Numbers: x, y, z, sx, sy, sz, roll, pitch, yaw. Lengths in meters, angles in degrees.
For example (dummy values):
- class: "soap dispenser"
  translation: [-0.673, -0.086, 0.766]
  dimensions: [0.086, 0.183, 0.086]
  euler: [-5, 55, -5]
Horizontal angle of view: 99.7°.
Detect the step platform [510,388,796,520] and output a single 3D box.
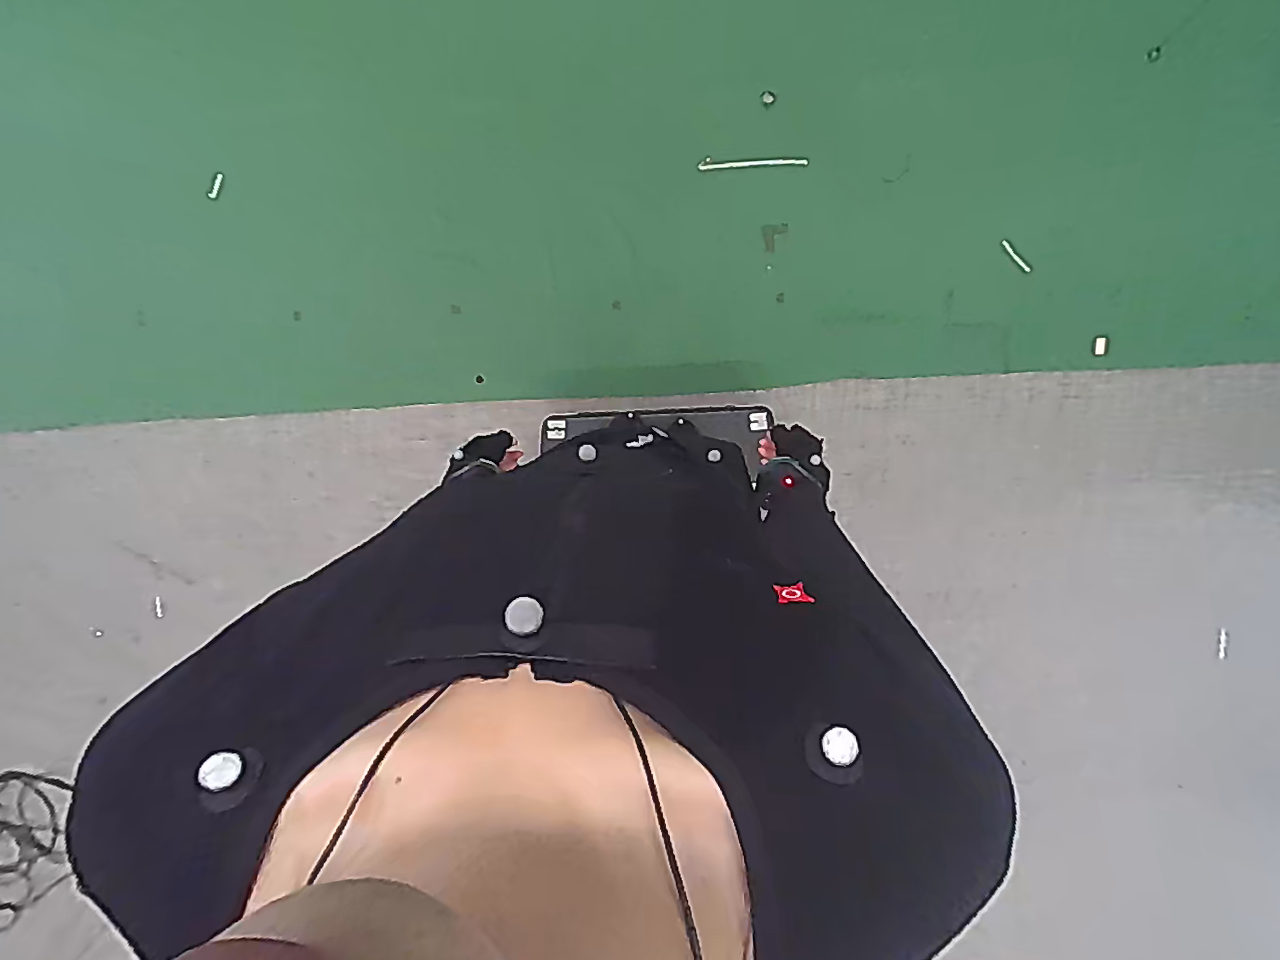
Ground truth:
- class: "step platform"
  translation: [0.033, -0.071, 1.379]
  dimensions: [0.684, 0.204, 0.286]
  euler: [-3, 97, 2]
